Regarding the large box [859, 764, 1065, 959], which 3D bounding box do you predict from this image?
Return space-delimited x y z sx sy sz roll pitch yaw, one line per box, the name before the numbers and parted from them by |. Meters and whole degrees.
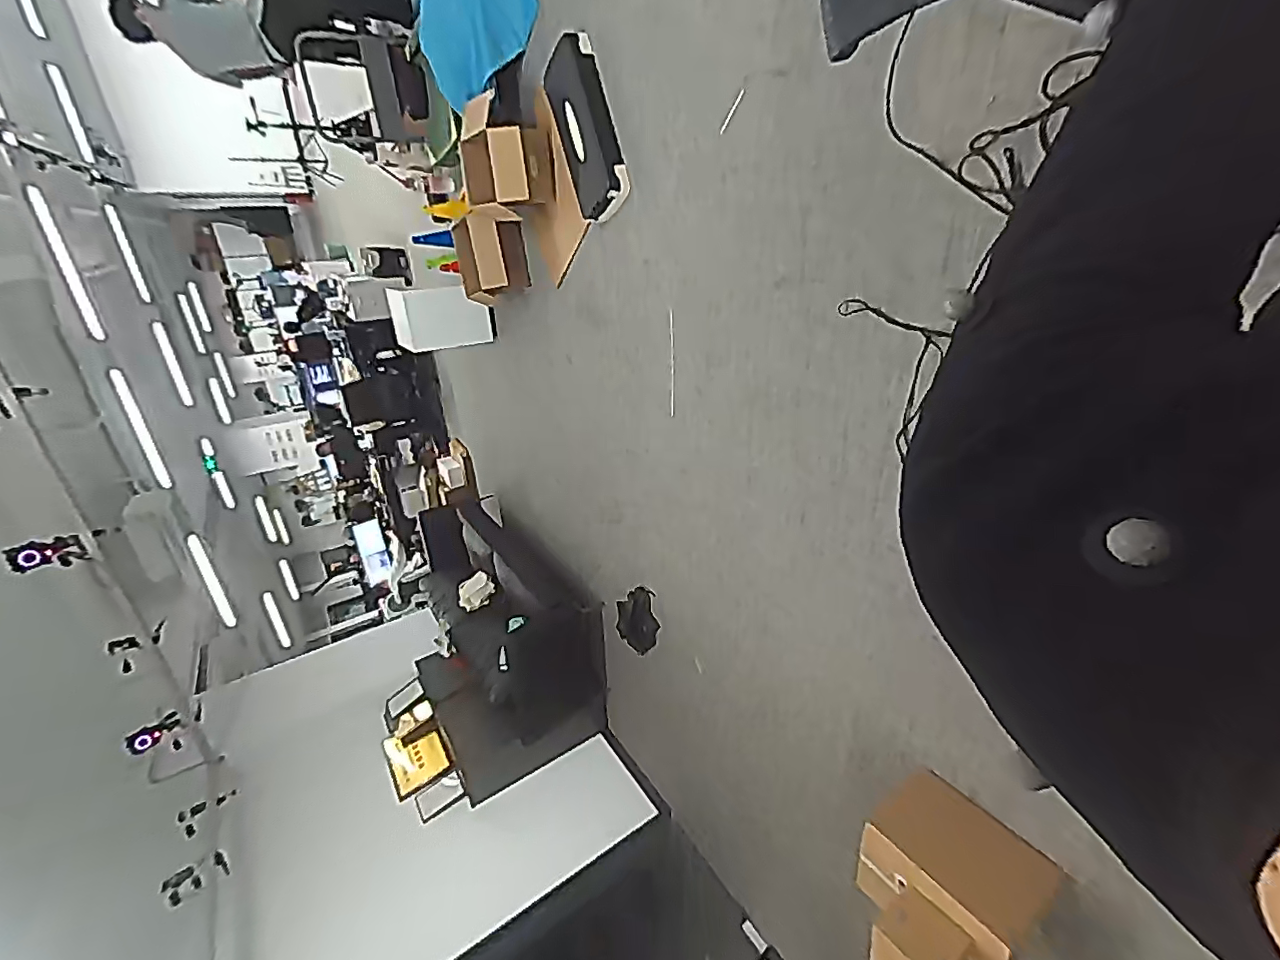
large box | 0.928 1.153 1.594 0.408 0.320 0.320 30 130 51
